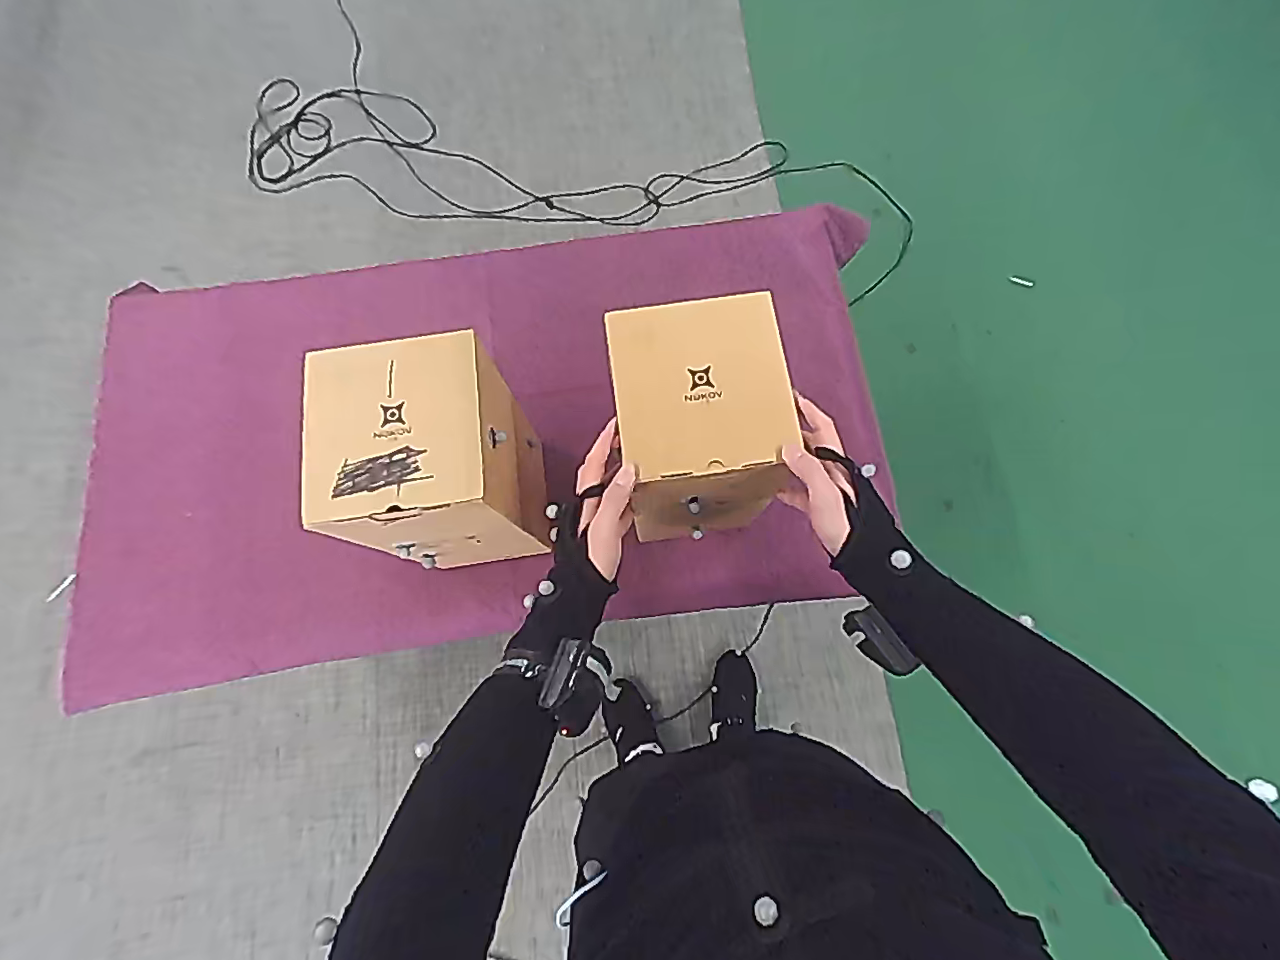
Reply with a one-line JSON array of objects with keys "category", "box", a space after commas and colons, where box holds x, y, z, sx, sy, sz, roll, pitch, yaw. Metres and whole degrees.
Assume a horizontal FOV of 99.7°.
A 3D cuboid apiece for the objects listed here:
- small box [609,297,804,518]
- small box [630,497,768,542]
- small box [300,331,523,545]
[{"category": "small box", "box": [0.058, -0.067, 0.582, 0.168, 0.176, 0.179, -7, 76, -1]}, {"category": "small box", "box": [0.064, -0.022, 0.738, 0.168, 0.176, 0.179, -7, 75, 0]}, {"category": "small box", "box": [-0.227, -0.031, 0.577, 0.168, 0.176, 0.179, -7, 74, -1]}]
